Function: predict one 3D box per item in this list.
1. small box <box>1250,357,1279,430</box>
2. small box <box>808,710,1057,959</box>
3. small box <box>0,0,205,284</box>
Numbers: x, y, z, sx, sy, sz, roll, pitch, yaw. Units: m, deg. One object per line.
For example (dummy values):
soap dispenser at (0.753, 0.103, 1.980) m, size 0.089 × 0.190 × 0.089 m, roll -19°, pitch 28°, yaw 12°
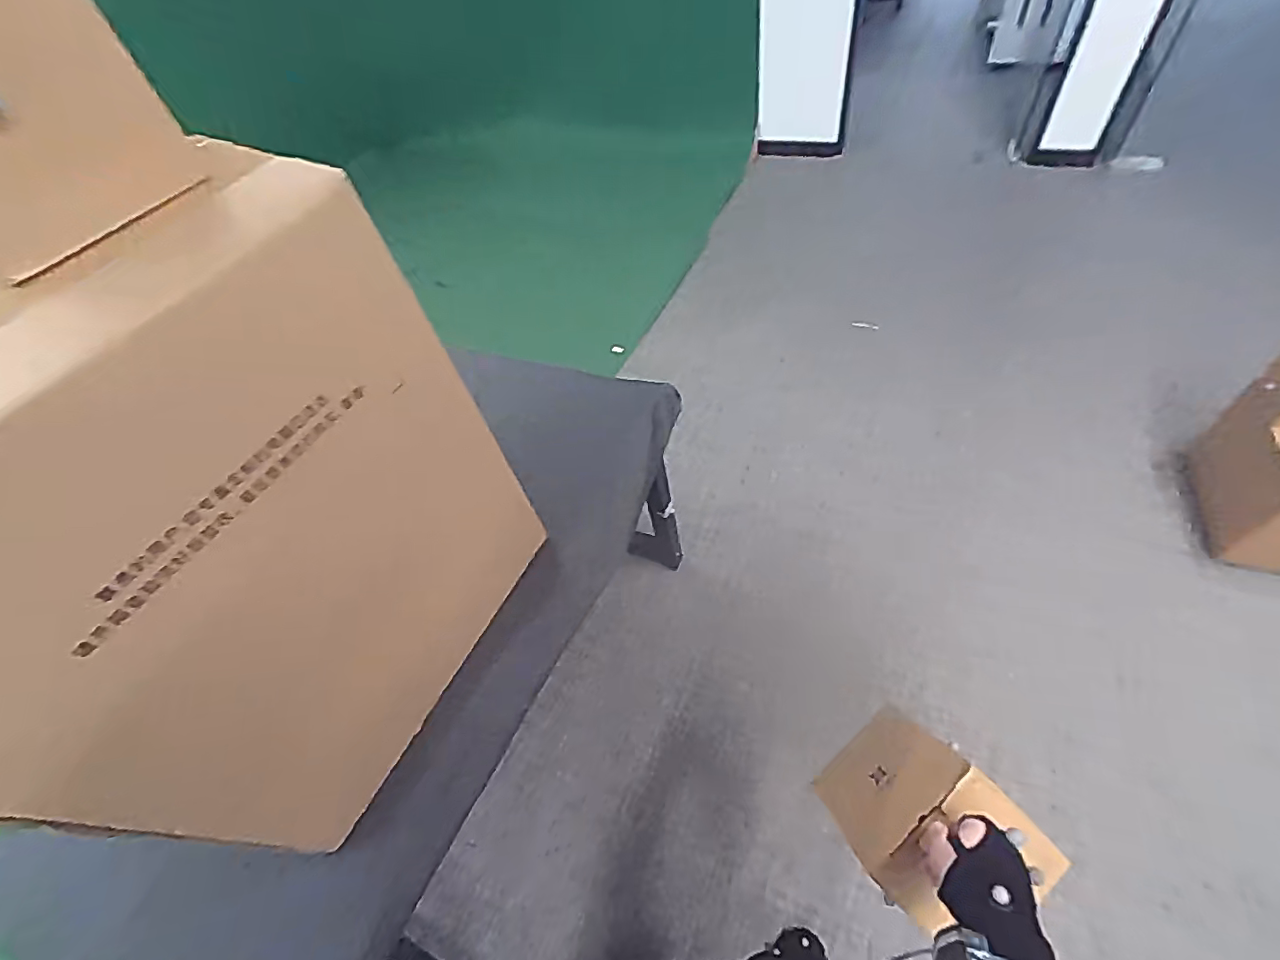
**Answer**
small box at (1.657, -0.226, 1.304) m, size 0.179 × 0.176 × 0.168 m, roll 9°, pitch 55°, yaw 22°
small box at (0.352, 0.433, 0.670) m, size 0.168 × 0.179 × 0.176 m, roll -43°, pitch 92°, yaw -5°
small box at (-0.495, -0.276, 0.402) m, size 0.168 × 0.176 × 0.179 m, roll 23°, pitch 60°, yaw 18°
